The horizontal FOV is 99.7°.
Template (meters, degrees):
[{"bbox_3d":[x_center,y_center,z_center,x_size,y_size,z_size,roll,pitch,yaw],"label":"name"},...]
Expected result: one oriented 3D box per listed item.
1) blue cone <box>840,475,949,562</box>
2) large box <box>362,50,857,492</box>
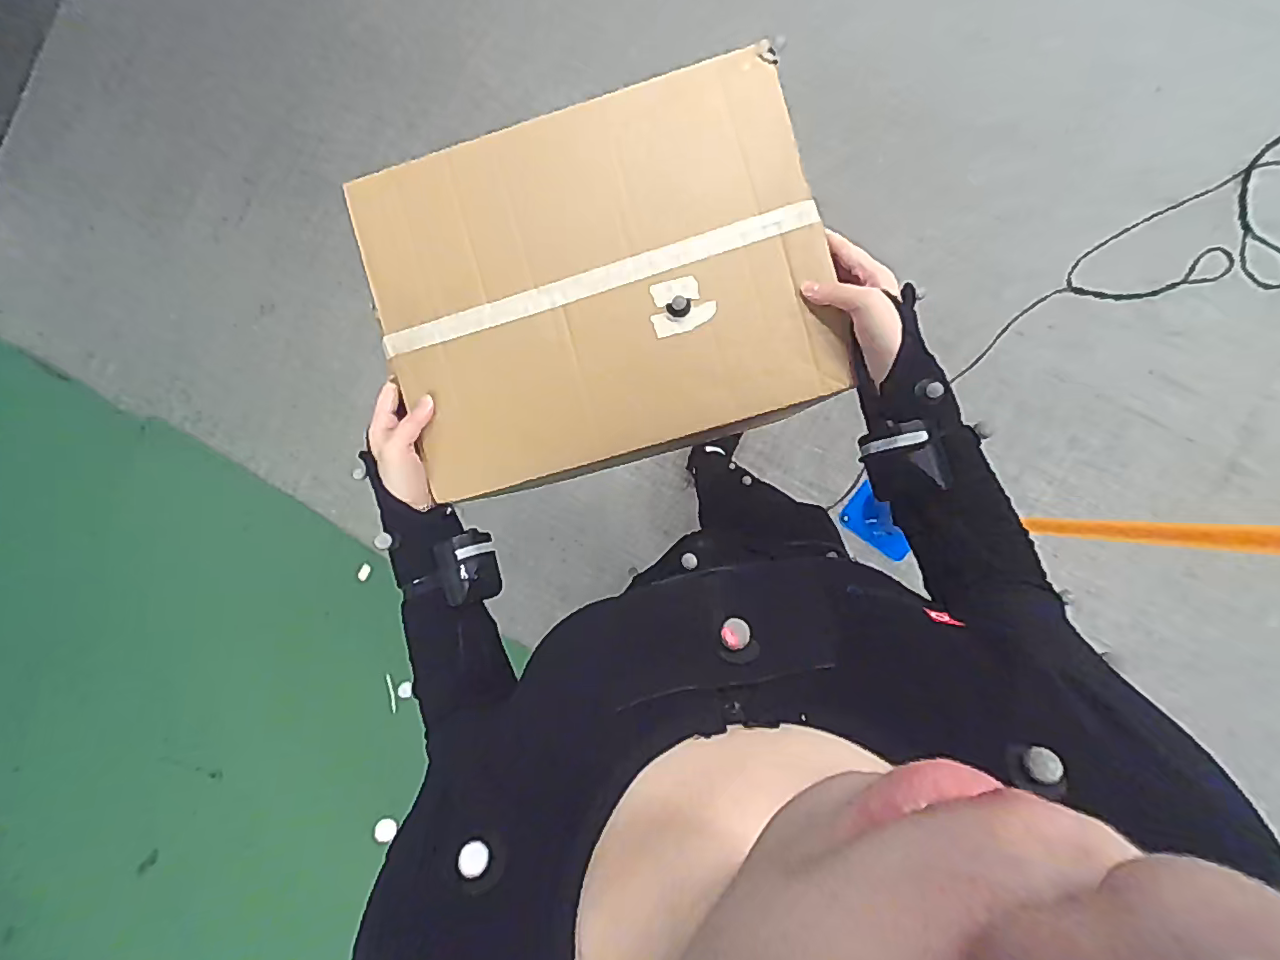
[{"bbox_3d":[0.631,0.097,1.262,0.193,0.380,0.192,38,95,7],"label":"blue cone"},{"bbox_3d":[-0.027,-0.189,0.645,0.408,0.320,0.320,-16,90,3],"label":"large box"}]
